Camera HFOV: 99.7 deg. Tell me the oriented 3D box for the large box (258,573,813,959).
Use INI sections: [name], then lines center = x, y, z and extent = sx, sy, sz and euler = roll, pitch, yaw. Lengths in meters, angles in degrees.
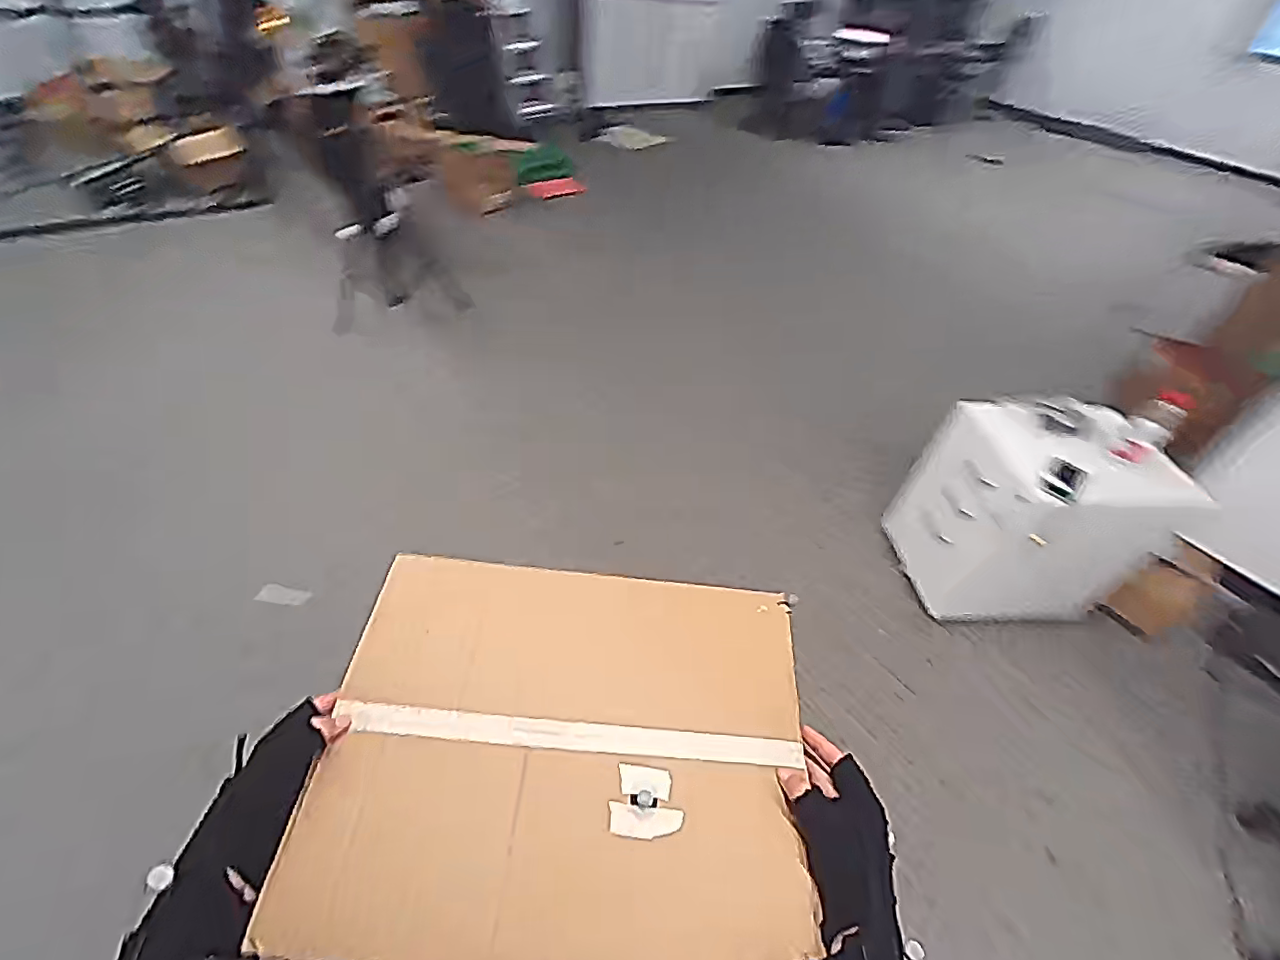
[large box]
center = -0.082, 0.322, 0.591
extent = 0.408, 0.320, 0.320
euler = 5, 52, -4
